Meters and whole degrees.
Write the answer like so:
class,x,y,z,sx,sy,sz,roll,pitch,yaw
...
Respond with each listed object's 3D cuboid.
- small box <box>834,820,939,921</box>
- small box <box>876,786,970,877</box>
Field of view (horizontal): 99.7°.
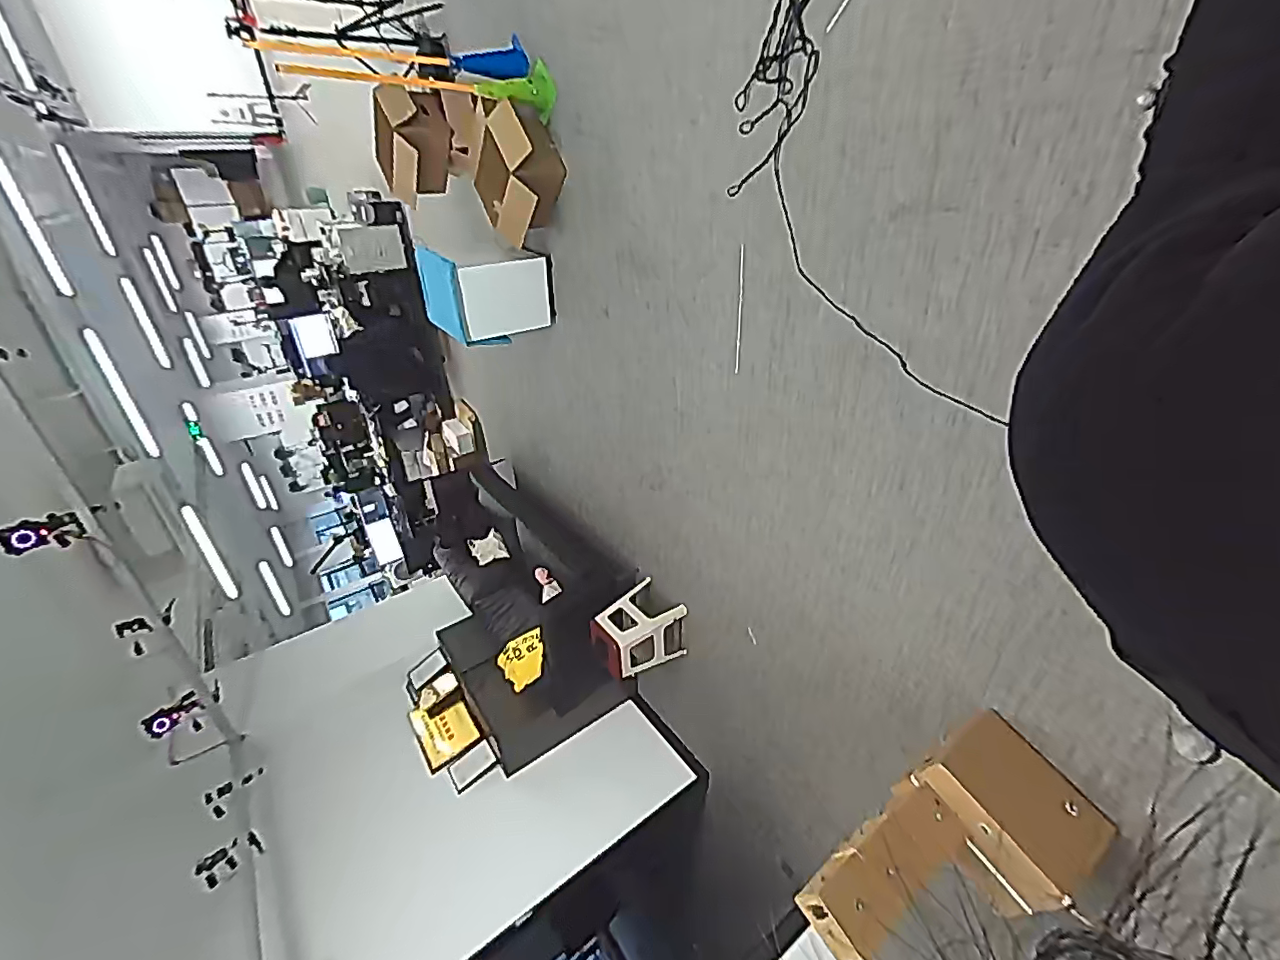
class,x,y,z,sx,sy,sz,roll,pitch,yaw
small box,0.702,1.106,1.543,0.179,0.176,0.168,50,147,29
small box,0.839,1.058,1.616,0.168,0.176,0.179,49,146,30
